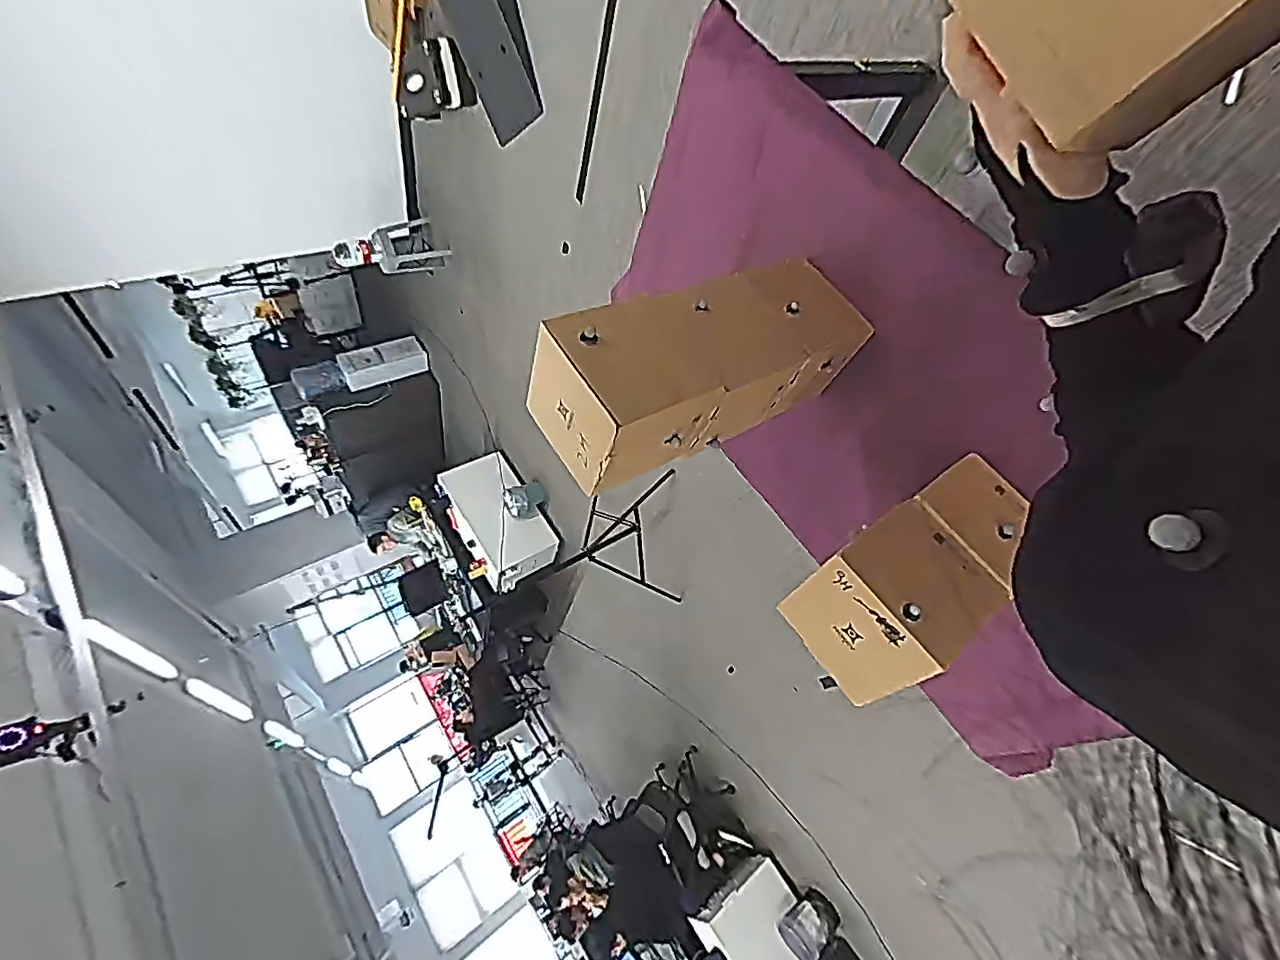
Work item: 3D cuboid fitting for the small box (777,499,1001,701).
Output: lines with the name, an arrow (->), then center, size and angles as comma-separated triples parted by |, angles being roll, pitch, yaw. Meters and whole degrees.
small box -> 0.321, 0.157, 0.713 | 0.168, 0.176, 0.179 | 51, 149, 21

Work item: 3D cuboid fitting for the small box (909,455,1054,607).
small box -> 0.453, 0.091, 0.787 | 0.168, 0.176, 0.179 | 53, 149, 19

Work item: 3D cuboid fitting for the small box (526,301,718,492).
small box -> -0.030, -0.118, 0.725 | 0.179, 0.176, 0.168 | 54, 149, 17

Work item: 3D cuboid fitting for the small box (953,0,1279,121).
small box -> 0.223, -0.277, 0.215 | 0.179, 0.176, 0.168 | 59, 144, 4

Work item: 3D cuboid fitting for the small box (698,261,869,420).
small box -> 0.233, -0.233, 0.887 | 0.179, 0.176, 0.168 | 55, 149, 17
